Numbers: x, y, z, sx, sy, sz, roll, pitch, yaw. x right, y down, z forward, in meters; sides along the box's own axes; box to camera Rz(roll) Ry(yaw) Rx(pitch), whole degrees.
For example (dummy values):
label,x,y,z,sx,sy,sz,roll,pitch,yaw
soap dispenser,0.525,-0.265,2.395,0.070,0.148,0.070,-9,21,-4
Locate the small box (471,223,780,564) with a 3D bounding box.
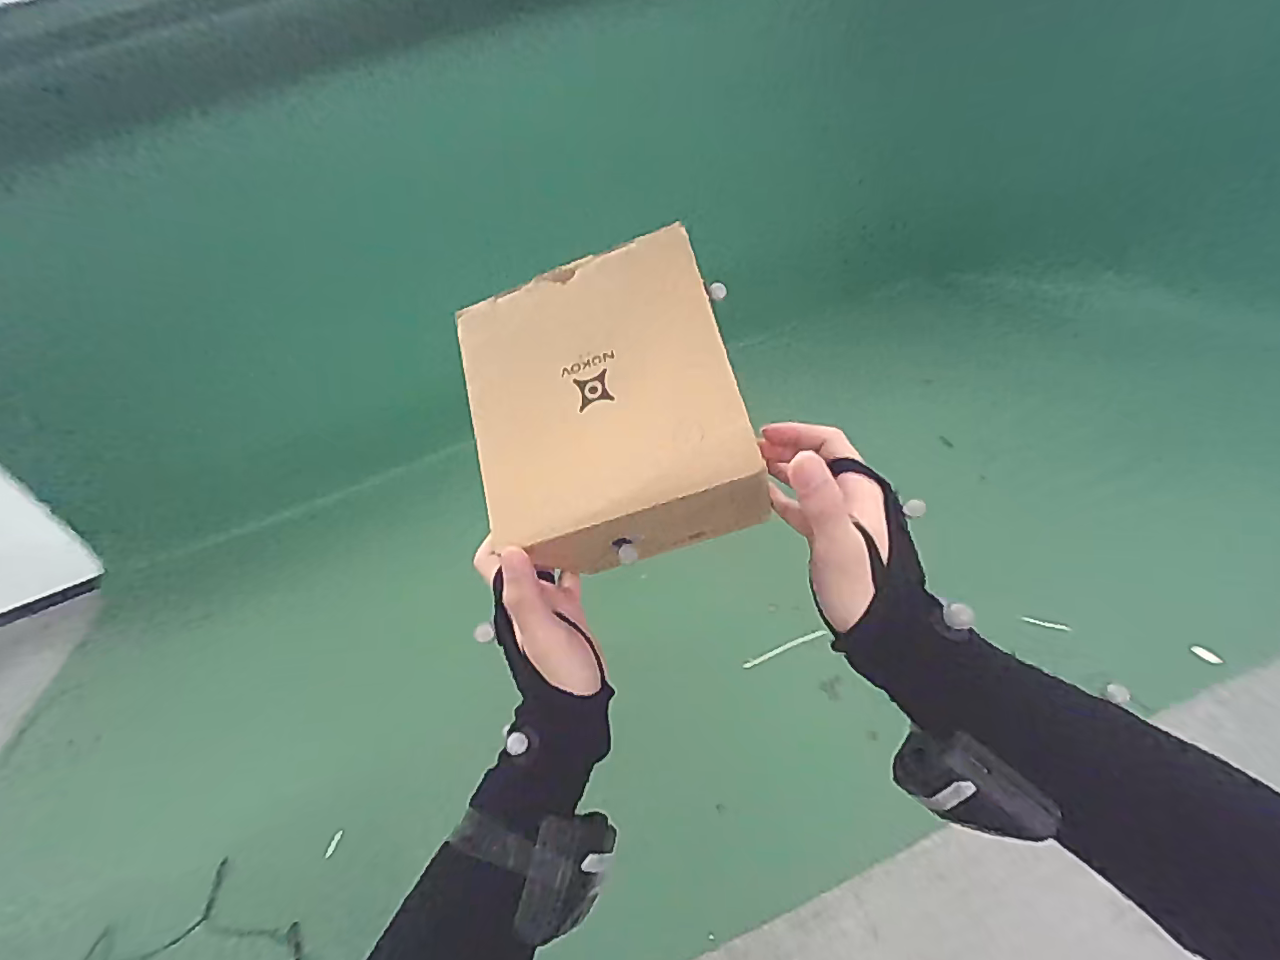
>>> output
label,x,y,z,sx,sy,sz,roll,pitch,yaw
small box,0.000,-0.041,0.405,0.168,0.176,0.179,-18,71,11
